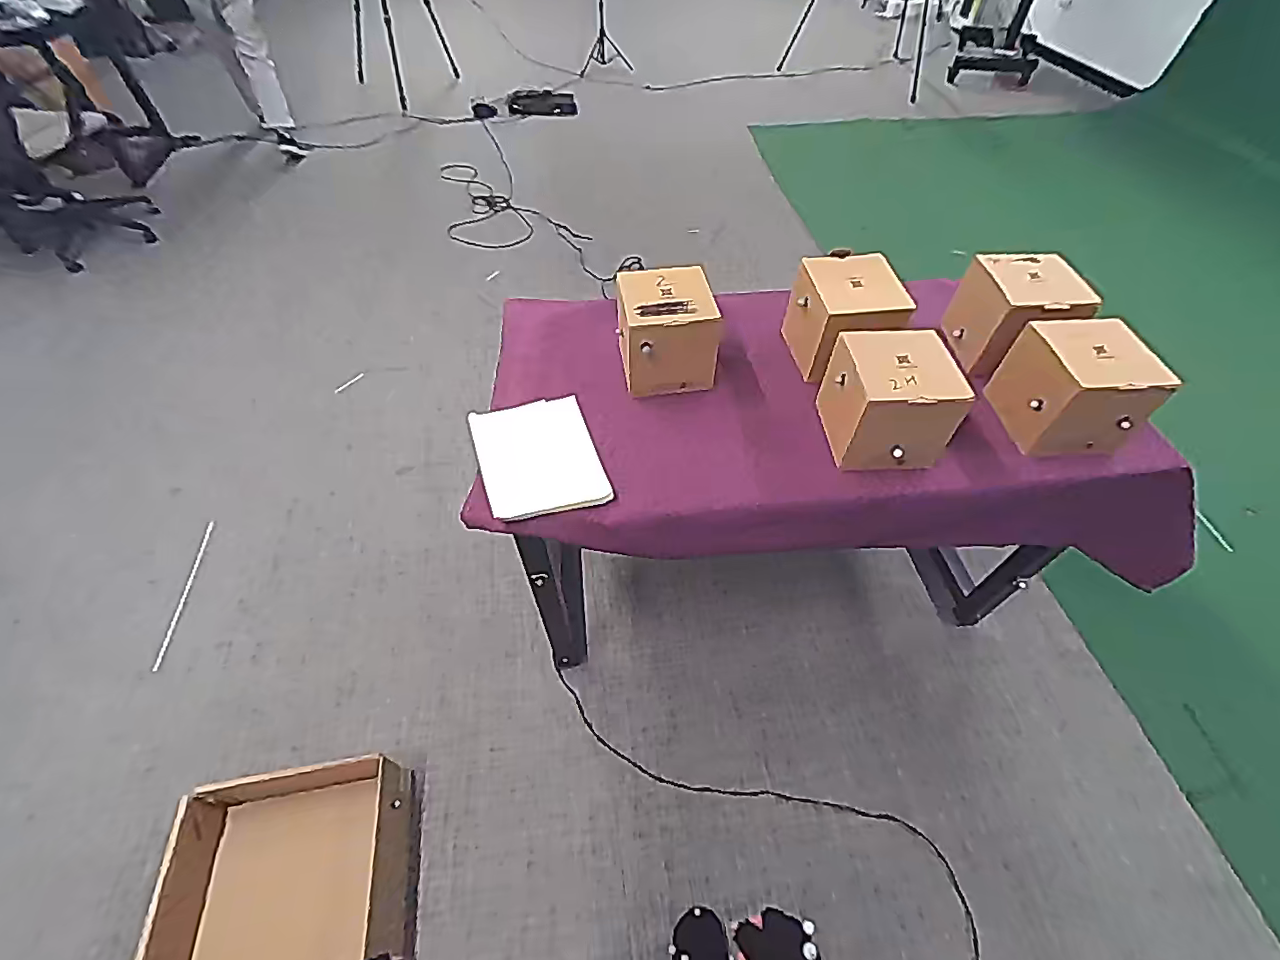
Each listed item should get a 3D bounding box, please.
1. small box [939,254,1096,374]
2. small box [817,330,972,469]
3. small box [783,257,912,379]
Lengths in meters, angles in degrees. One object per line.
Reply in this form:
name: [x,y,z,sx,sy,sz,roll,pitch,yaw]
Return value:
small box: [0.738,-0.329,1.082,0.168,0.176,0.179,0,53,0]
small box: [0.420,-0.138,0.932,0.168,0.176,0.179,-2,52,-1]
small box: [0.398,-0.315,1.074,0.168,0.176,0.179,-6,52,-4]
